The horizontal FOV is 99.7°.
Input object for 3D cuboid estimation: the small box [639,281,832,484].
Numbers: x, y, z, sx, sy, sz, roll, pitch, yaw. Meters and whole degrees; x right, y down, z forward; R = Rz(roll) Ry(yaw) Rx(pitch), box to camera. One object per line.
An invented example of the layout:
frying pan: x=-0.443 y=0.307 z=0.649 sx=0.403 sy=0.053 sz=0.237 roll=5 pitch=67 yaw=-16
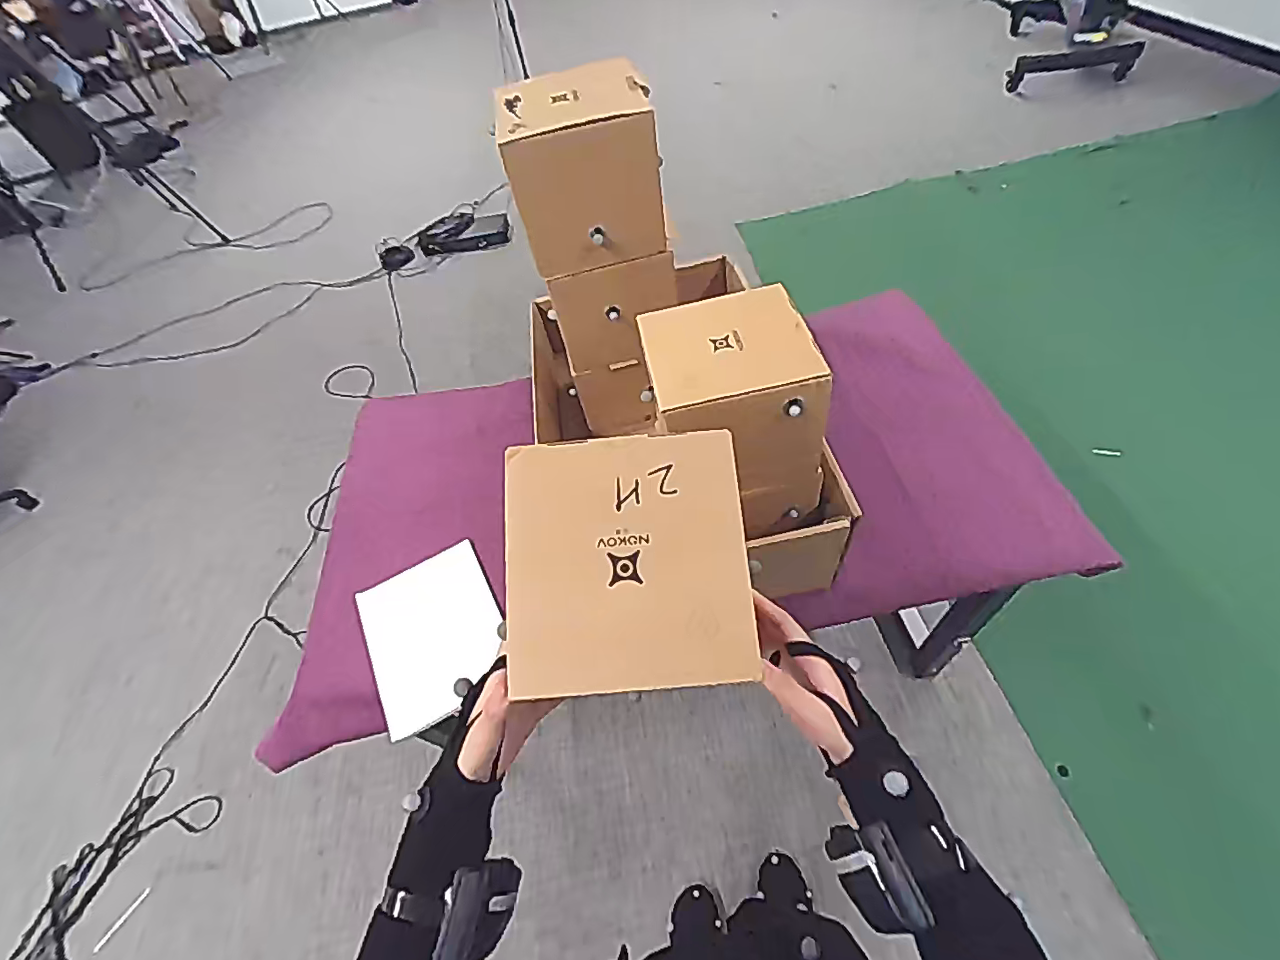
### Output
small box: x=0.107 y=-0.102 z=0.641 sx=0.179 sy=0.176 sz=0.168 roll=-12 pitch=51 yaw=1

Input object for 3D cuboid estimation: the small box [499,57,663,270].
small box: x=-0.069 y=-0.398 z=0.689 sx=0.179 sy=0.176 sz=0.168 roll=-12 pitch=53 yaw=-1

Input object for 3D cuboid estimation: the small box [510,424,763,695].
small box: x=-0.004 y=0.070 z=0.443 sx=0.168 sy=0.176 sz=0.179 roll=-4 pitch=73 yaw=0

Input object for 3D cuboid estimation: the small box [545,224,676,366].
small box: x=-0.044 y=-0.300 z=0.819 sx=0.179 sy=0.176 sz=0.168 roll=-14 pitch=54 yaw=-1
